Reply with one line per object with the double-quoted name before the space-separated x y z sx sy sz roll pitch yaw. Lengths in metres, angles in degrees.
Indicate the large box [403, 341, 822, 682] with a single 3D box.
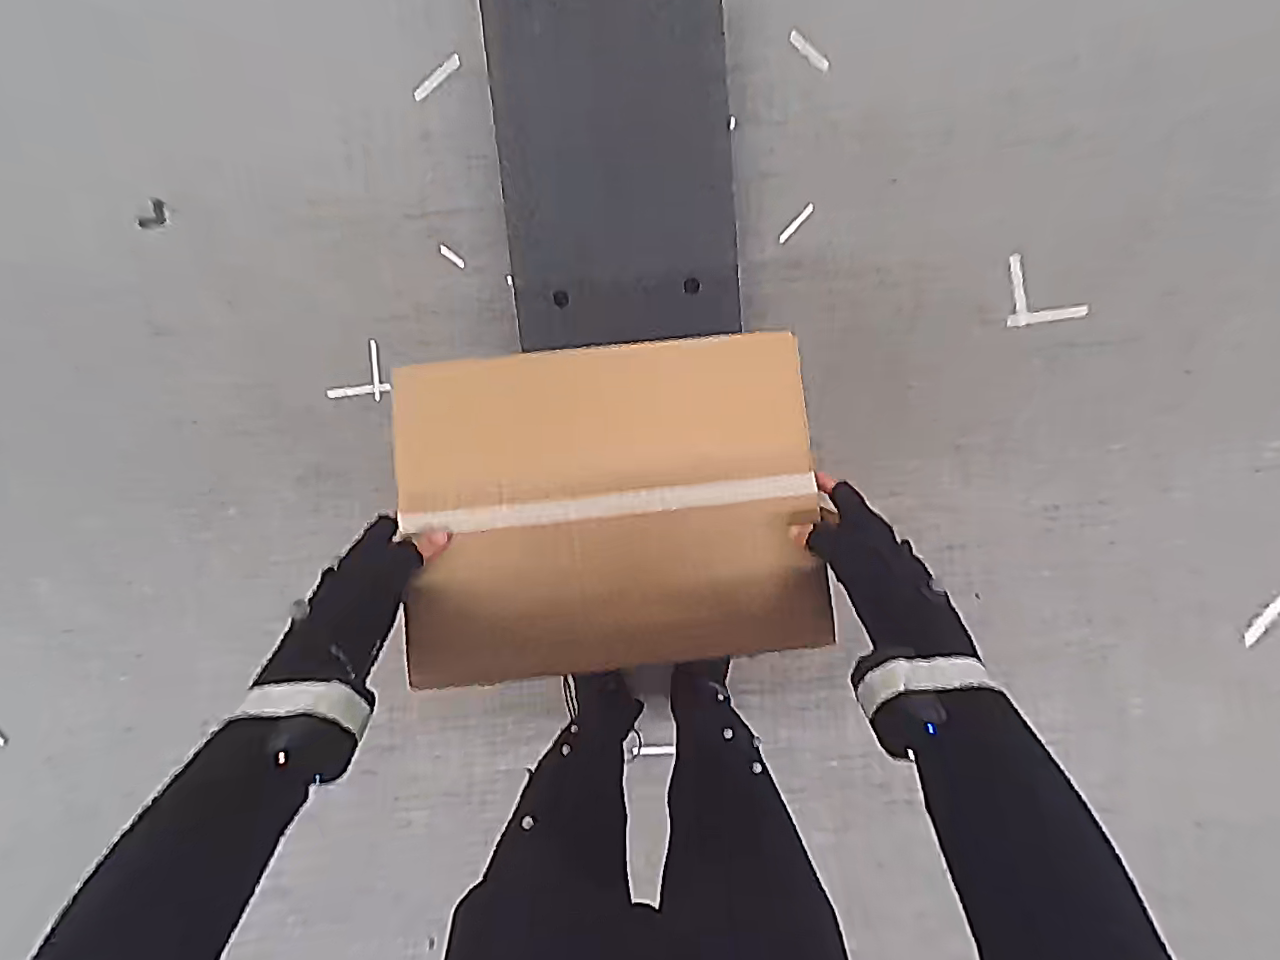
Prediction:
"large box" -0.032 0.038 0.690 0.408 0.320 0.320 -5 84 -2
